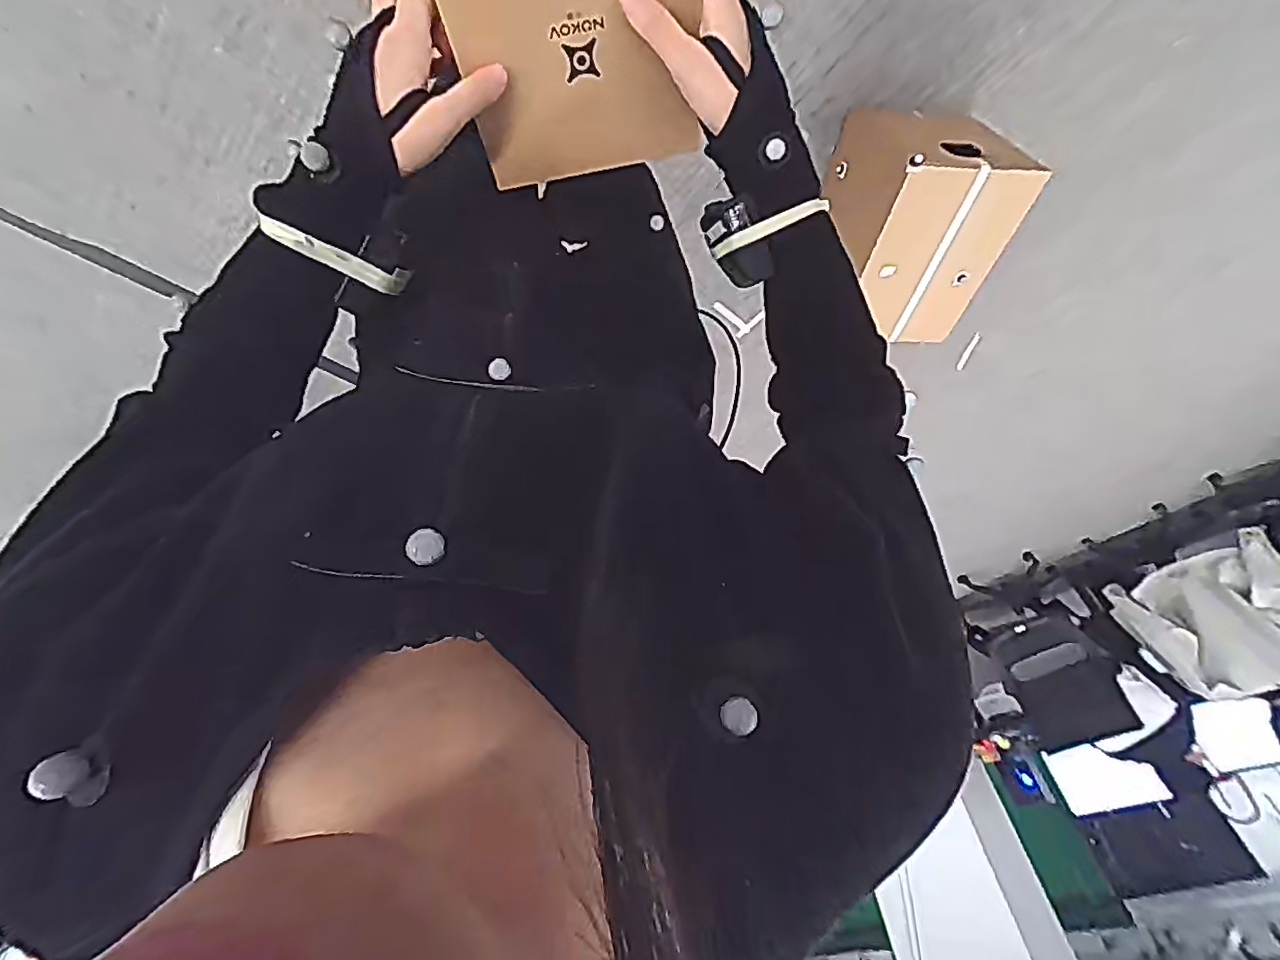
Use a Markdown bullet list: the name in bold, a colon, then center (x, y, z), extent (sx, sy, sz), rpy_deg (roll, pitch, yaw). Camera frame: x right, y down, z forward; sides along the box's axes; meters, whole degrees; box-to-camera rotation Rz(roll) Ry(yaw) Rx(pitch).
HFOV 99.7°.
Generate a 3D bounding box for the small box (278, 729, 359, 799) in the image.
- **small box**: center (-1.027, 0.913, 1.740), extent (0.168, 0.176, 0.179), rpy_deg (26, 130, -37)
